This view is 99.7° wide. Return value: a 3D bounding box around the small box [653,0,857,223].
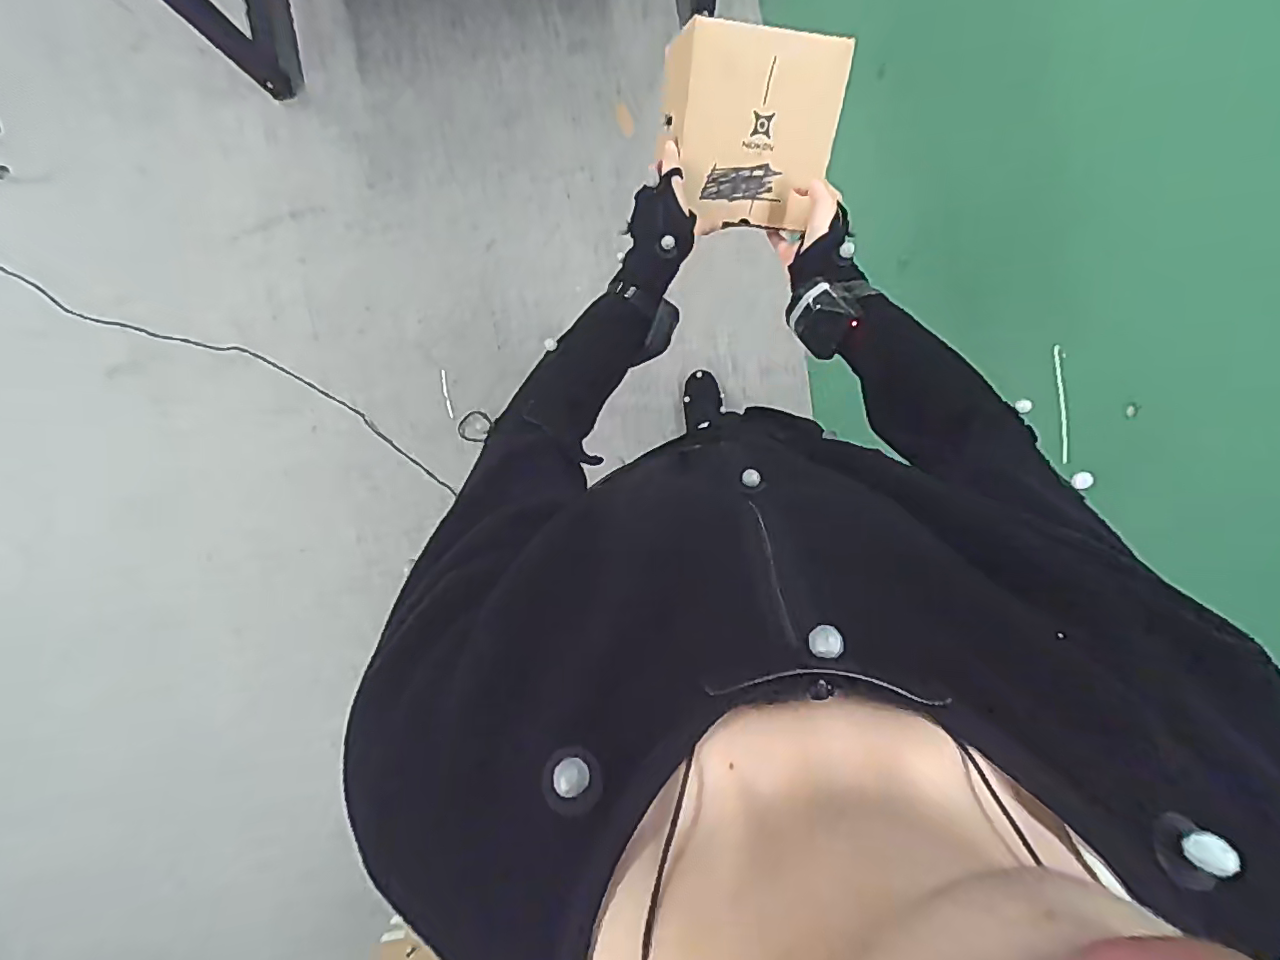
[{"bbox_3d":[0.111,-0.403,0.614,0.168,0.176,0.179,1,119,-9],"label":"small box"}]
